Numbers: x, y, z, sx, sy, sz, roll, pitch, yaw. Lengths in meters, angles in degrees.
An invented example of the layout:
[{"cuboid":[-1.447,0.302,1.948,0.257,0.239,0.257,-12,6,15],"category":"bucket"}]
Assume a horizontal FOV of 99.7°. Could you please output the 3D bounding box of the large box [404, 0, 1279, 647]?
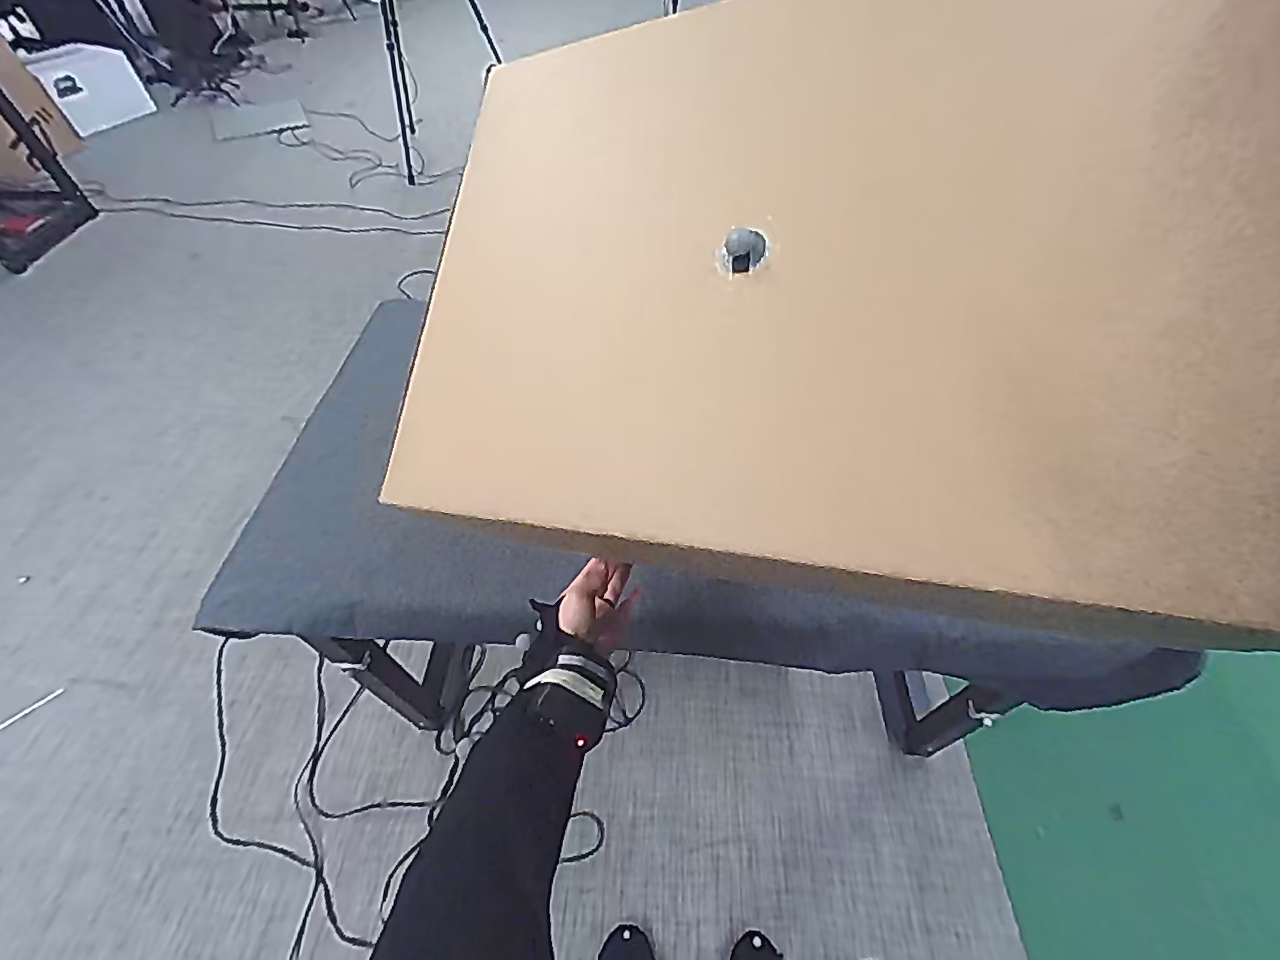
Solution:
[{"cuboid":[0.112,-0.073,0.406,0.408,0.320,0.320,4,78,23],"category":"large box"}]
